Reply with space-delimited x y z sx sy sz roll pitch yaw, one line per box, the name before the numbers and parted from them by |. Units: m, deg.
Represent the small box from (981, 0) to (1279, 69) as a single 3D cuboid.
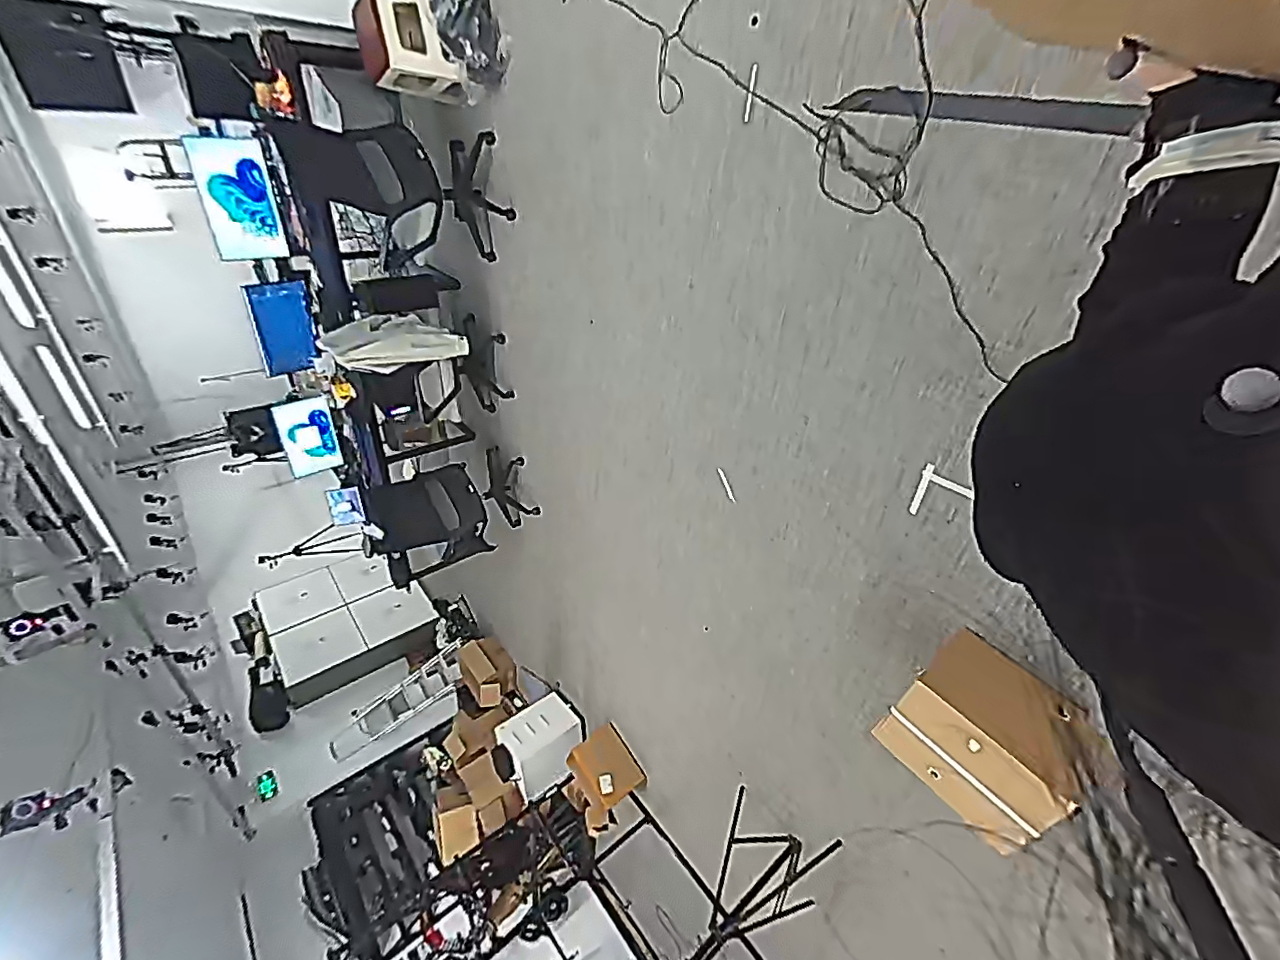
small box | 0.293 -0.329 0.265 0.179 0.176 0.168 47 135 33
